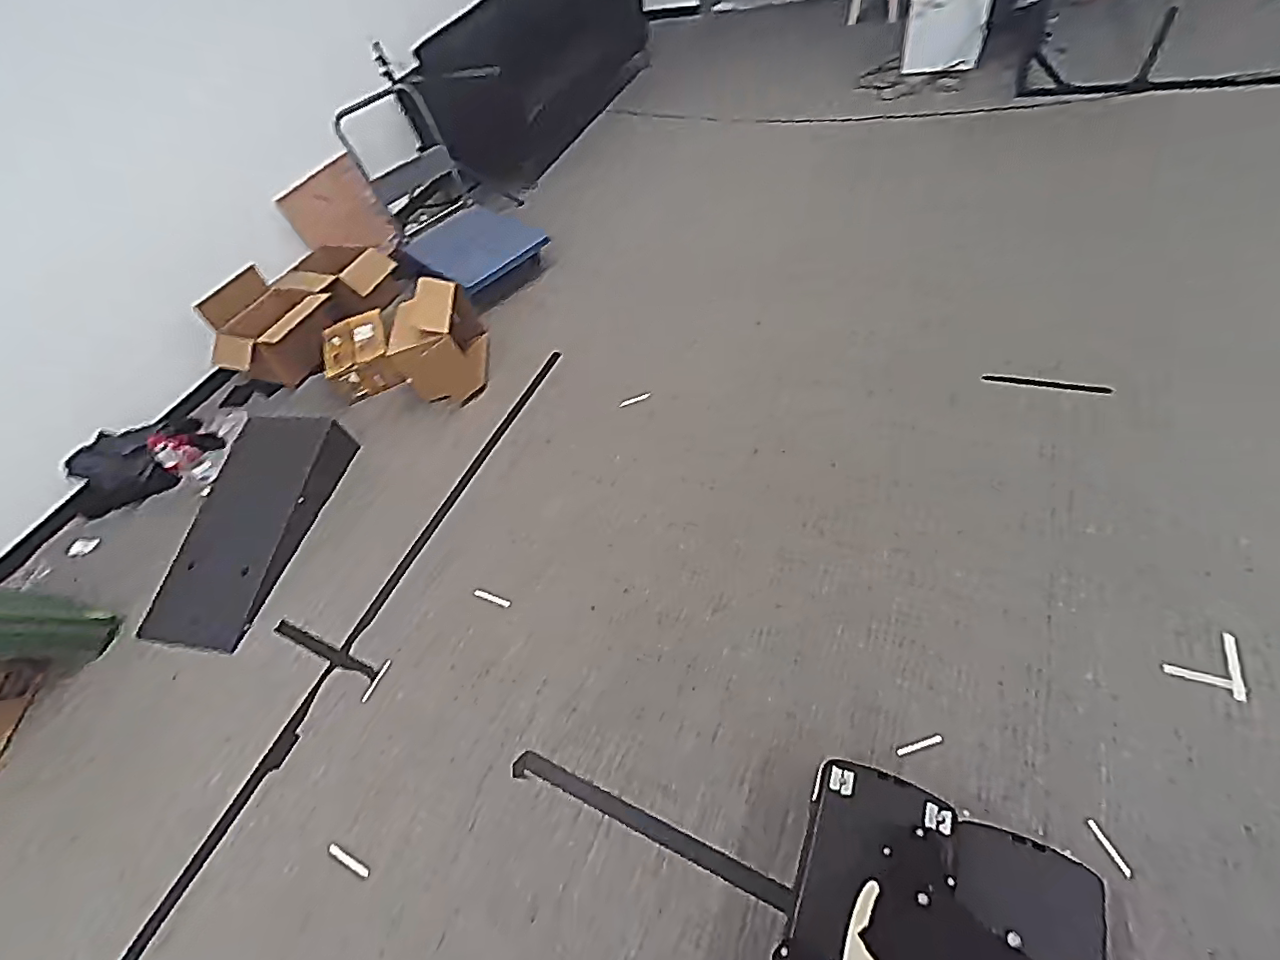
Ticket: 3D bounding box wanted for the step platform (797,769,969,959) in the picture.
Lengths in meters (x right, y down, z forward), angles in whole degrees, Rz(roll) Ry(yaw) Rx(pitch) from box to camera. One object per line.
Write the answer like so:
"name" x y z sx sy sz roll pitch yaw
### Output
"step platform" 0.468 0.979 1.095 0.286 0.204 0.684 12 57 22
